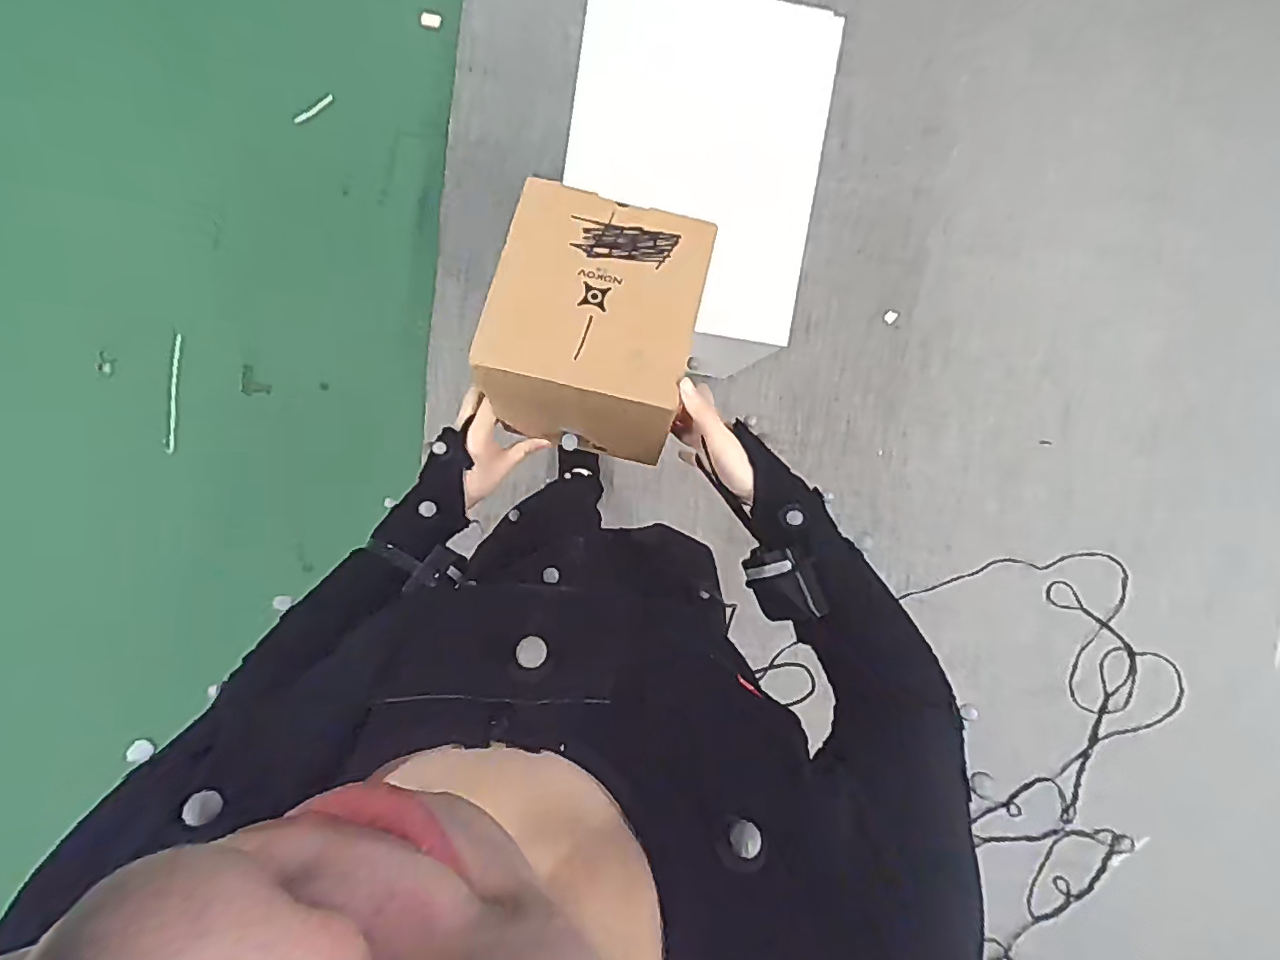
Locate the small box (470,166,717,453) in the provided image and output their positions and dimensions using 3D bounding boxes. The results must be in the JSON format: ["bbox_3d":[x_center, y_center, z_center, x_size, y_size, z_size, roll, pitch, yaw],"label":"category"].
[{"bbox_3d":[-0.038,-0.144,0.510,0.168,0.176,0.179,14,77,0],"label":"small box"}]
